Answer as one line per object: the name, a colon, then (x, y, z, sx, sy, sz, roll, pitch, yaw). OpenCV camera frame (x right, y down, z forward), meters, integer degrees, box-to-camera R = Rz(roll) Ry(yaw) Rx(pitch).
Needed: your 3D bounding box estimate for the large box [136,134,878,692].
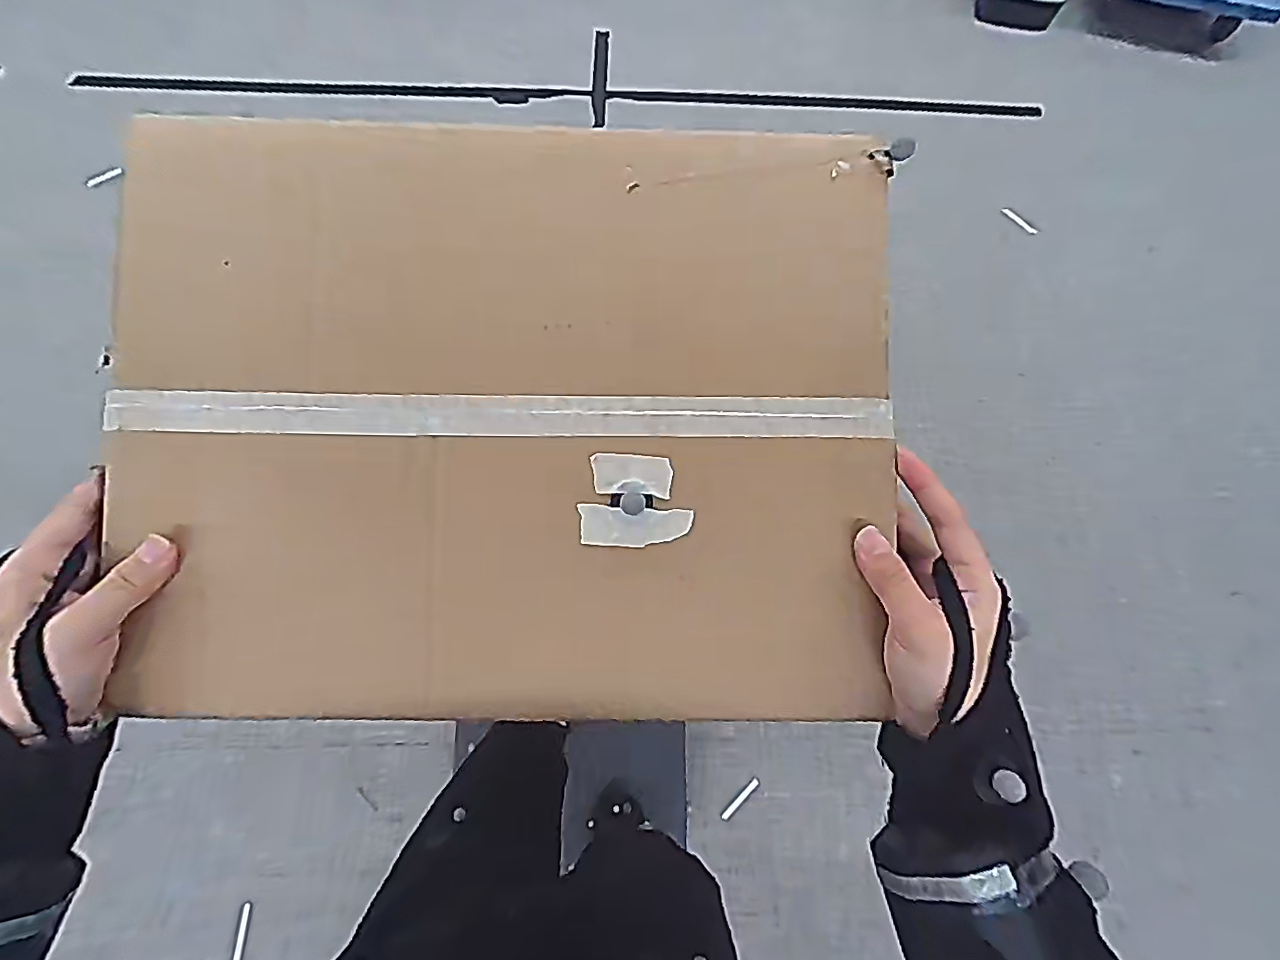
large box: (-0.073, -0.033, 0.448, 0.408, 0.320, 0.320, 1, 88, -2)
